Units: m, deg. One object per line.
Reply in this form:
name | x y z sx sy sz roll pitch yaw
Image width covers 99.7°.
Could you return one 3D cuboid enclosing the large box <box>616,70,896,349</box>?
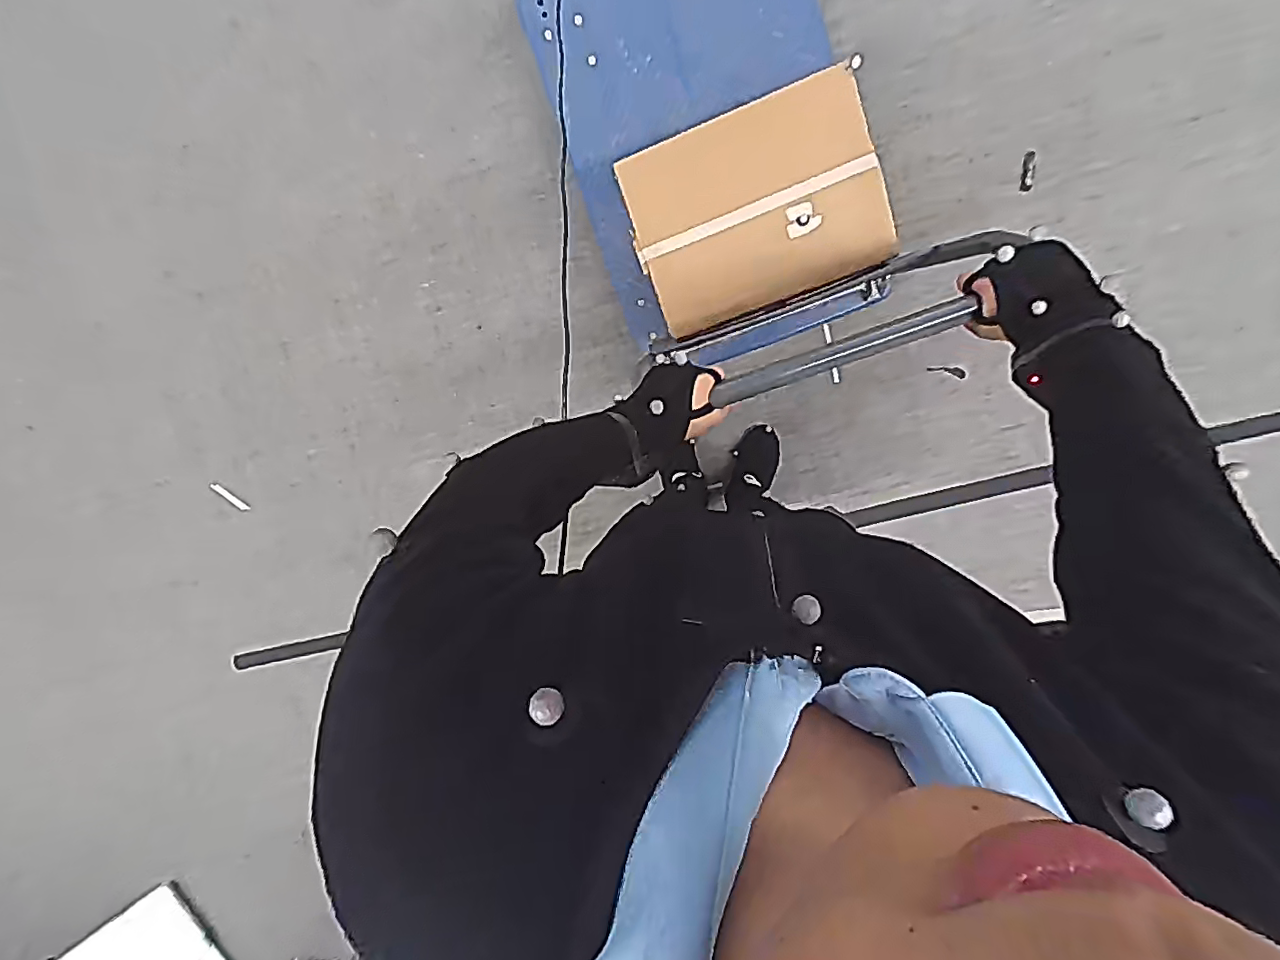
large box | 0.207 -0.475 1.055 0.408 0.320 0.320 -19 101 9
